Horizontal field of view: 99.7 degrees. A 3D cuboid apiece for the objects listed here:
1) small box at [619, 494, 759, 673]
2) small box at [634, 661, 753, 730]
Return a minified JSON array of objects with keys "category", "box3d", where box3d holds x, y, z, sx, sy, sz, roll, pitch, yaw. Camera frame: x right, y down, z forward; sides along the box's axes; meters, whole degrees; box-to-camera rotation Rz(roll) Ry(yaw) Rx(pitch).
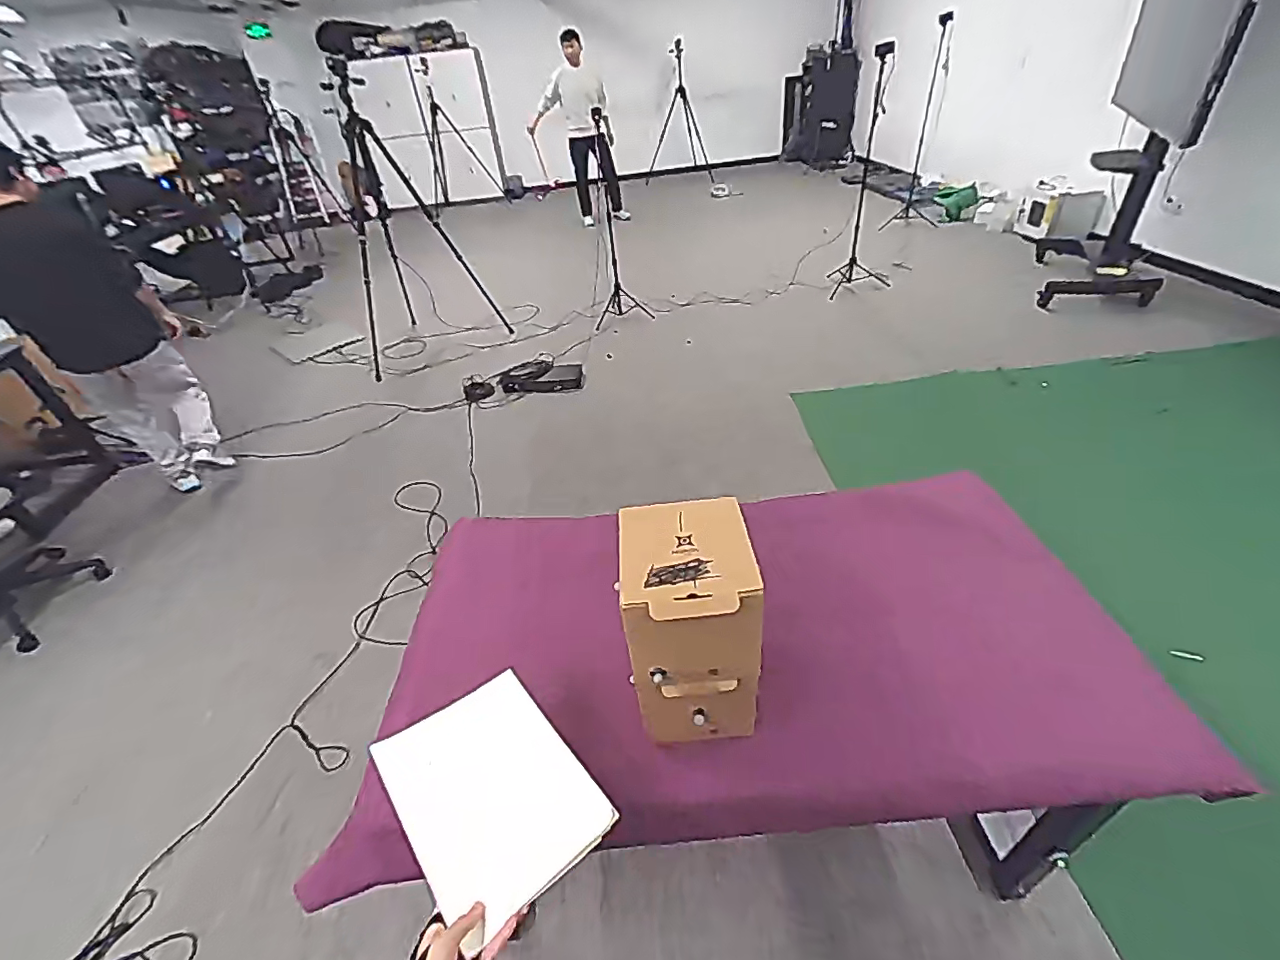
[{"category":"small box","box3d":[0.064,0.144,0.733,0.168,0.176,0.179,-5,37,2]},{"category":"small box","box3d":[0.079,0.270,0.839,0.168,0.176,0.179,-5,38,1]}]
